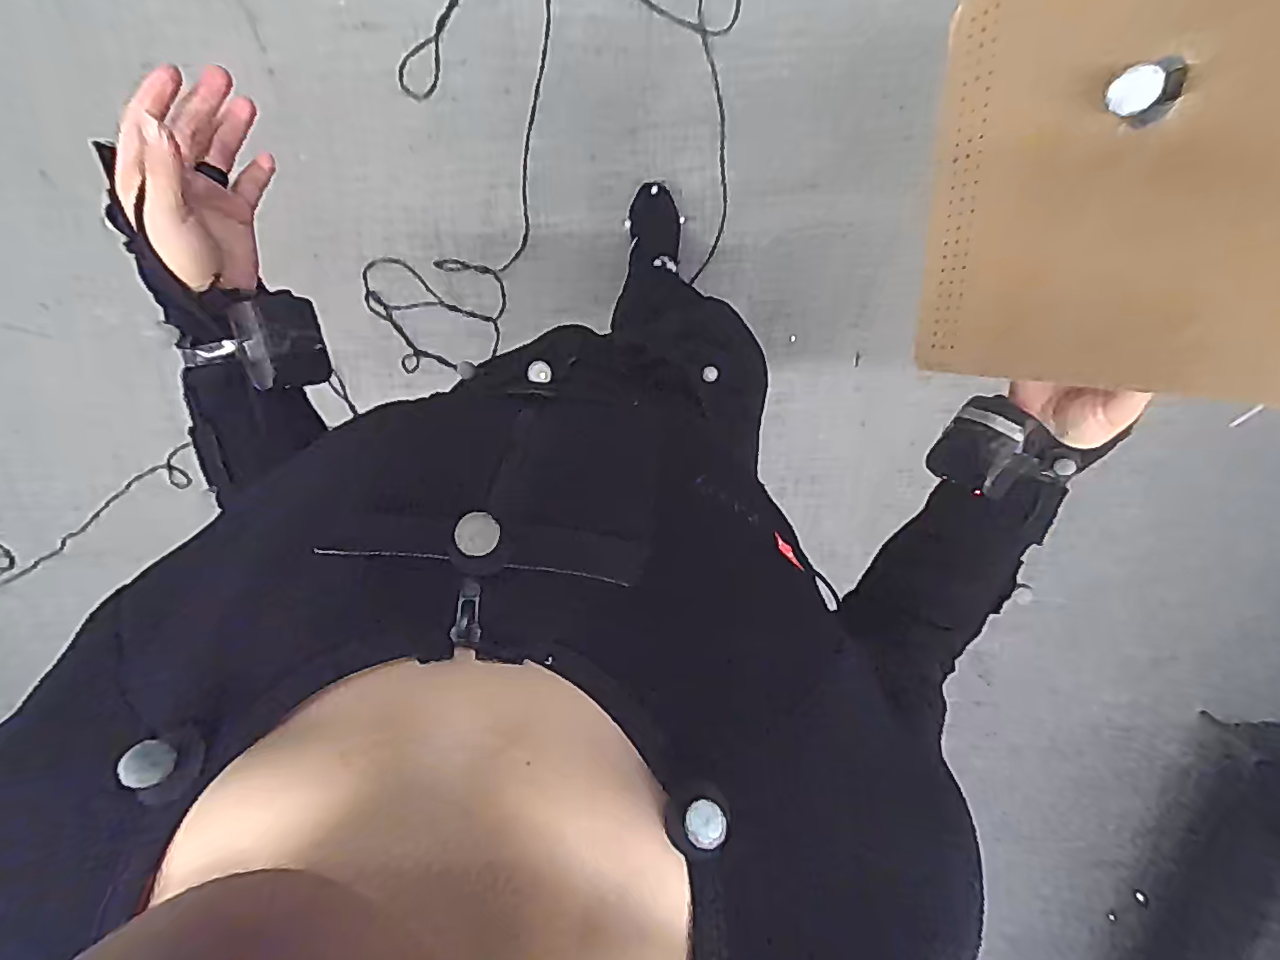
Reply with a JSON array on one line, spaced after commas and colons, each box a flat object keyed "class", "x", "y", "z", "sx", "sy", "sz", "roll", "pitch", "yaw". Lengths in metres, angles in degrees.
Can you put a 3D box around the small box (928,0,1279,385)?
[{"class": "small box", "x": 0.256, "y": -0.137, "z": 0.234, "sx": 0.168, "sy": 0.176, "sz": 0.179, "roll": -7, "pitch": 106, "yaw": -13}]
